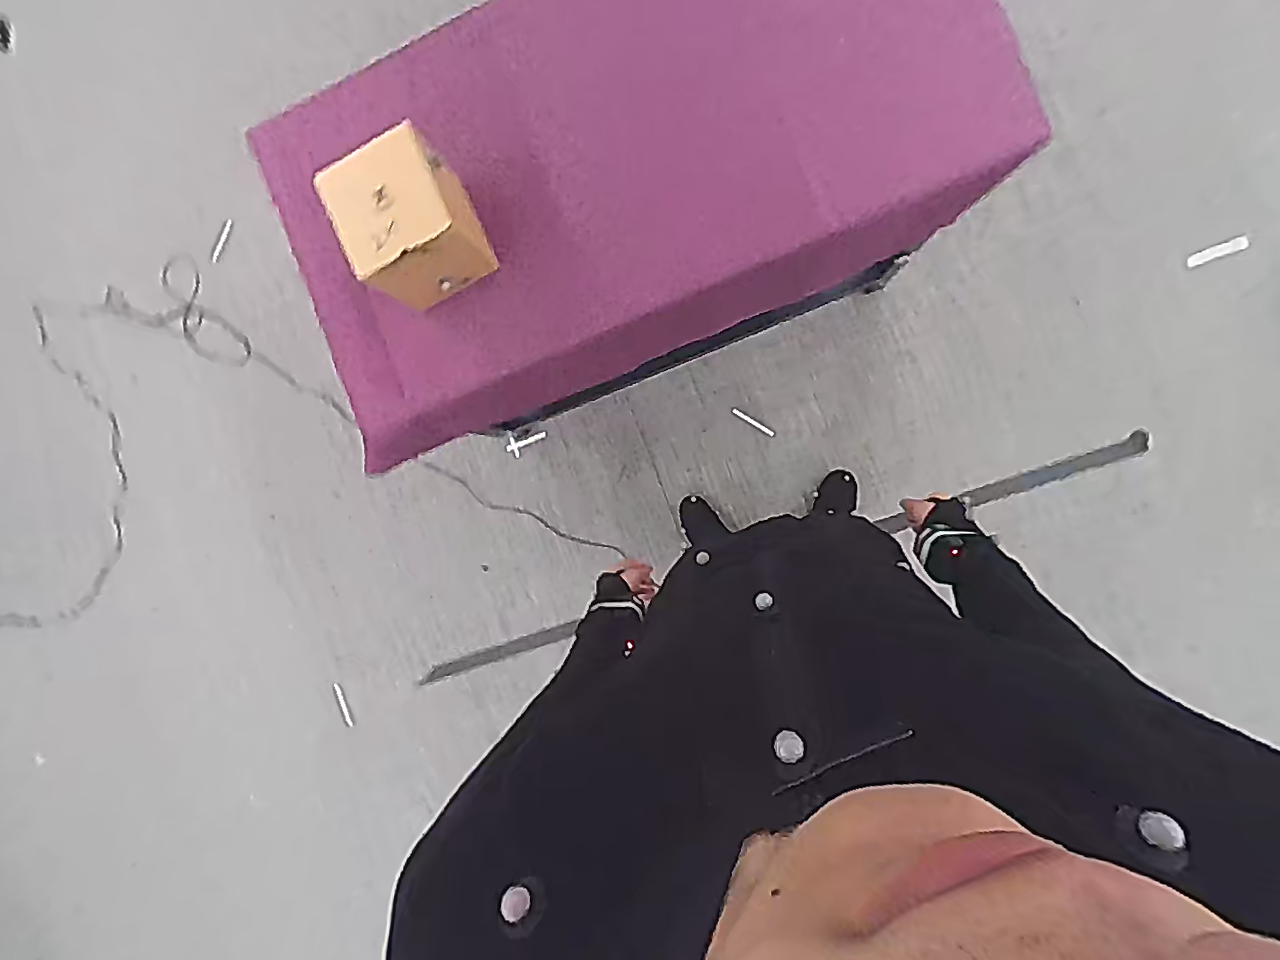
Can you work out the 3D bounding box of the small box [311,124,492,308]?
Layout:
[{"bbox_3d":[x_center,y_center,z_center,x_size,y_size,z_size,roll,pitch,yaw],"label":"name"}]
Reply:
[{"bbox_3d":[-0.369,-0.406,0.864,0.168,0.176,0.179,-25,89,8],"label":"small box"}]
